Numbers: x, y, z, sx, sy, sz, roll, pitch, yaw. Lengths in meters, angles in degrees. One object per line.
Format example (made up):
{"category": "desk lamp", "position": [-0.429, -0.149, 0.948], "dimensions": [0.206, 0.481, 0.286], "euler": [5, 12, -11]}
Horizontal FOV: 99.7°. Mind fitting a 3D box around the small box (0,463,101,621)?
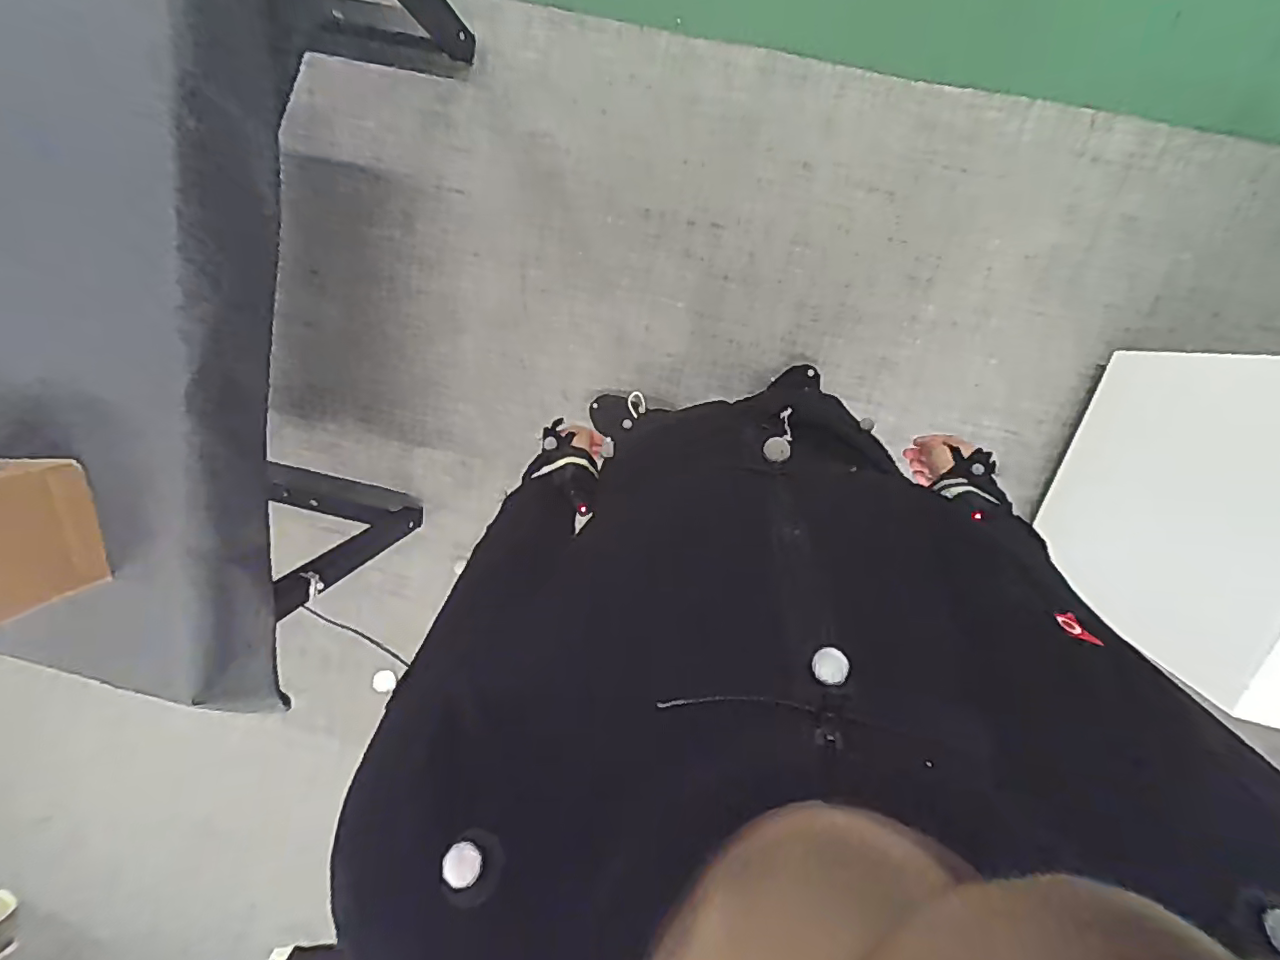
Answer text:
{"category": "small box", "position": [-0.834, 0.082, 0.668], "dimensions": [0.168, 0.176, 0.179], "euler": [1, 103, 7]}
